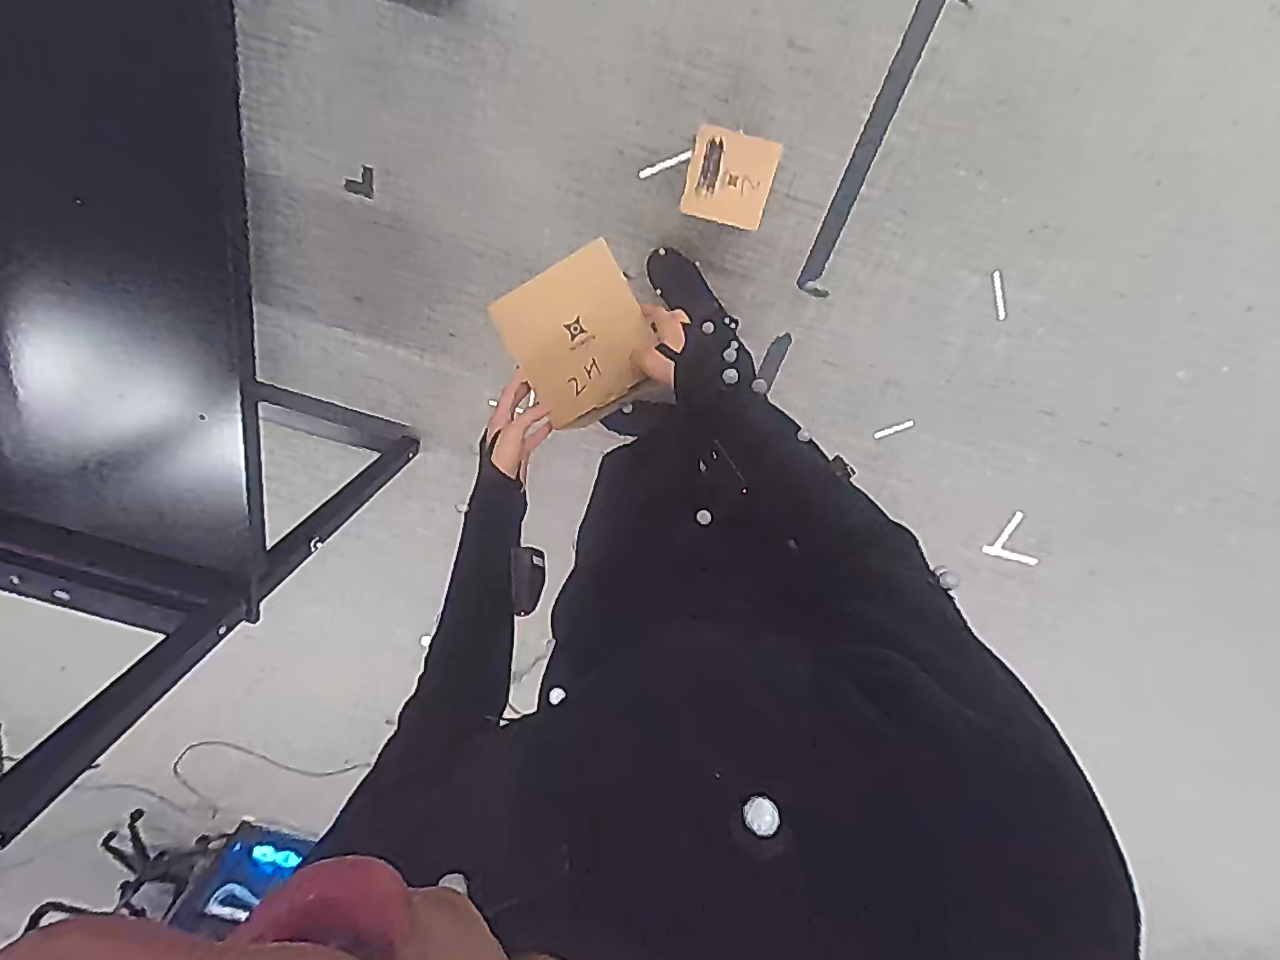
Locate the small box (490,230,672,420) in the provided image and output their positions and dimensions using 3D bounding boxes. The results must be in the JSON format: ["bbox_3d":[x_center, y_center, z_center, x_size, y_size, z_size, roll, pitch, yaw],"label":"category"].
[{"bbox_3d":[-0.067,-0.193,0.728,0.168,0.176,0.179,-27,95,8],"label":"small box"}]
